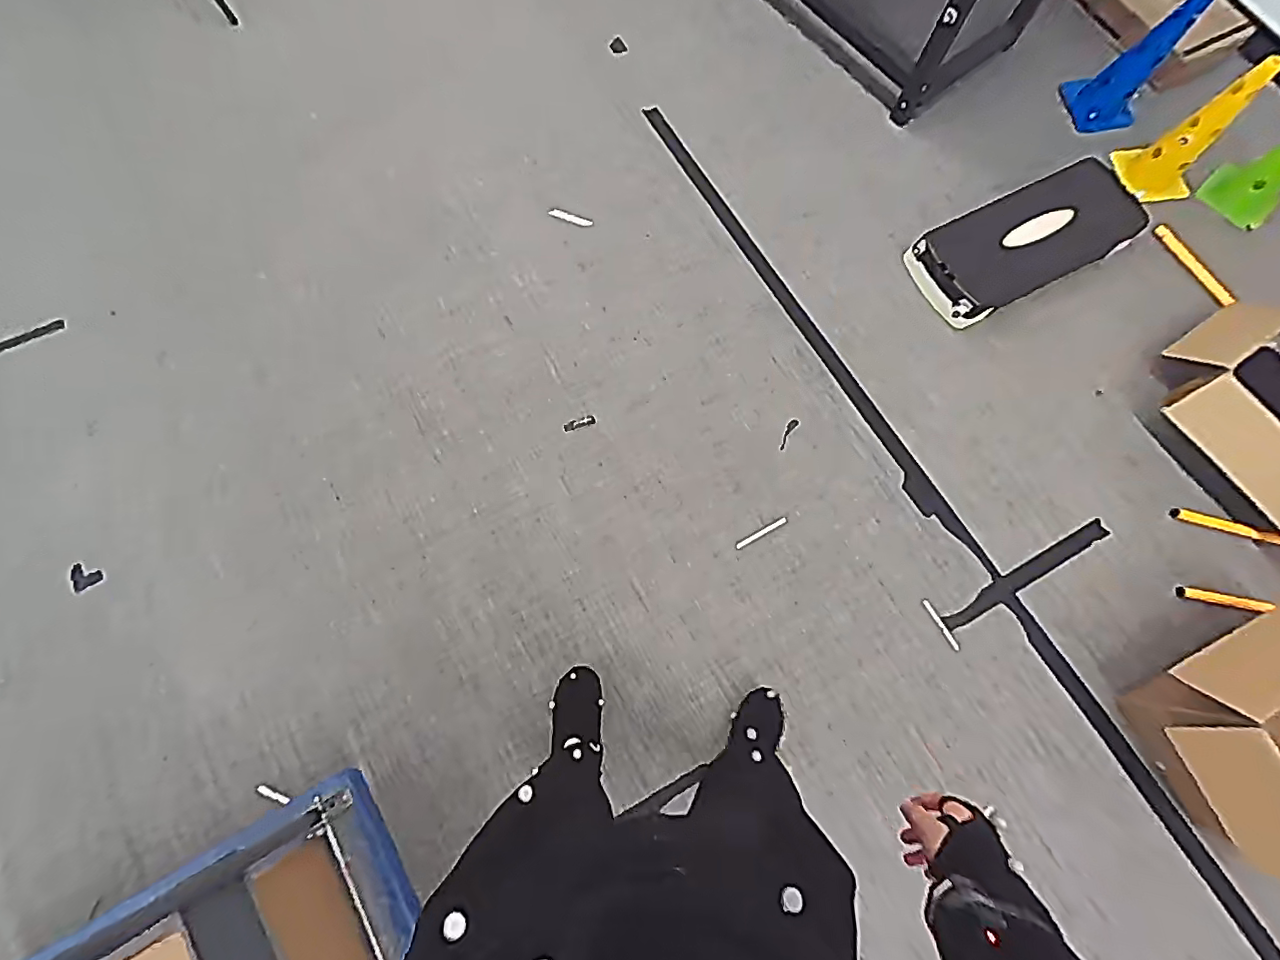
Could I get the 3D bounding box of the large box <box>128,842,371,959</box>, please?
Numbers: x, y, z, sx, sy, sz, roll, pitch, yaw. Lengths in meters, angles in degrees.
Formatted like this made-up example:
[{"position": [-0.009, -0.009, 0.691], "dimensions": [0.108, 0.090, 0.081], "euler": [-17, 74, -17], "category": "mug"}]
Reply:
[{"position": [-0.640, 0.894, 0.841], "dimensions": [0.320, 0.320, 0.408], "euler": [-29, 77, -9], "category": "large box"}]
